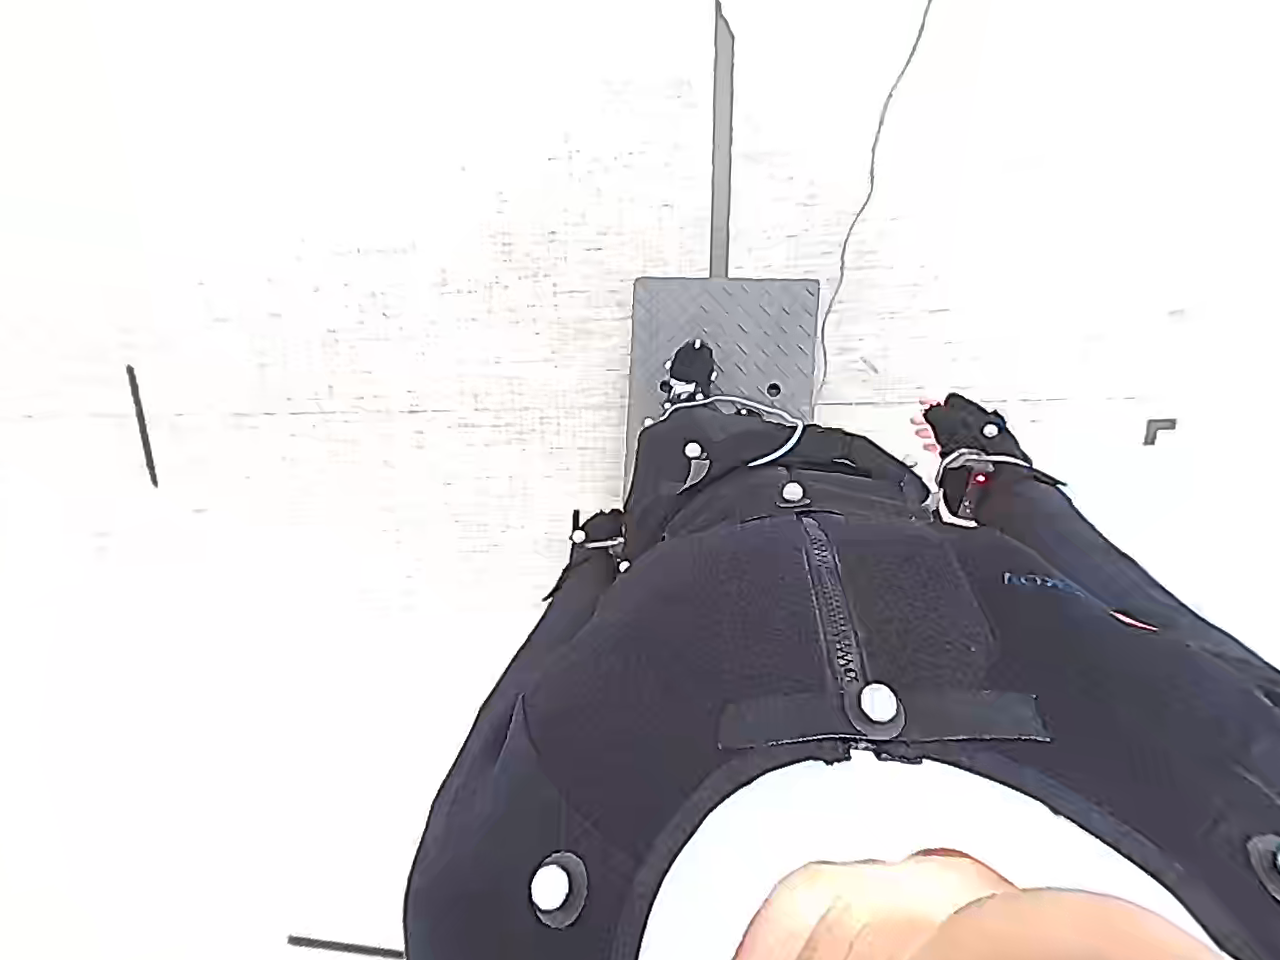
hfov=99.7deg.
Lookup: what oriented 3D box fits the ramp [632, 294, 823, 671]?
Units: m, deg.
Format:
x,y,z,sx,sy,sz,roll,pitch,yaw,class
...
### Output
x,y,z,sx,sy,sz,roll,pitch,yaw,class
0.229,-0.001,1.460,0.509,0.206,0.991,0,99,9,ramp
